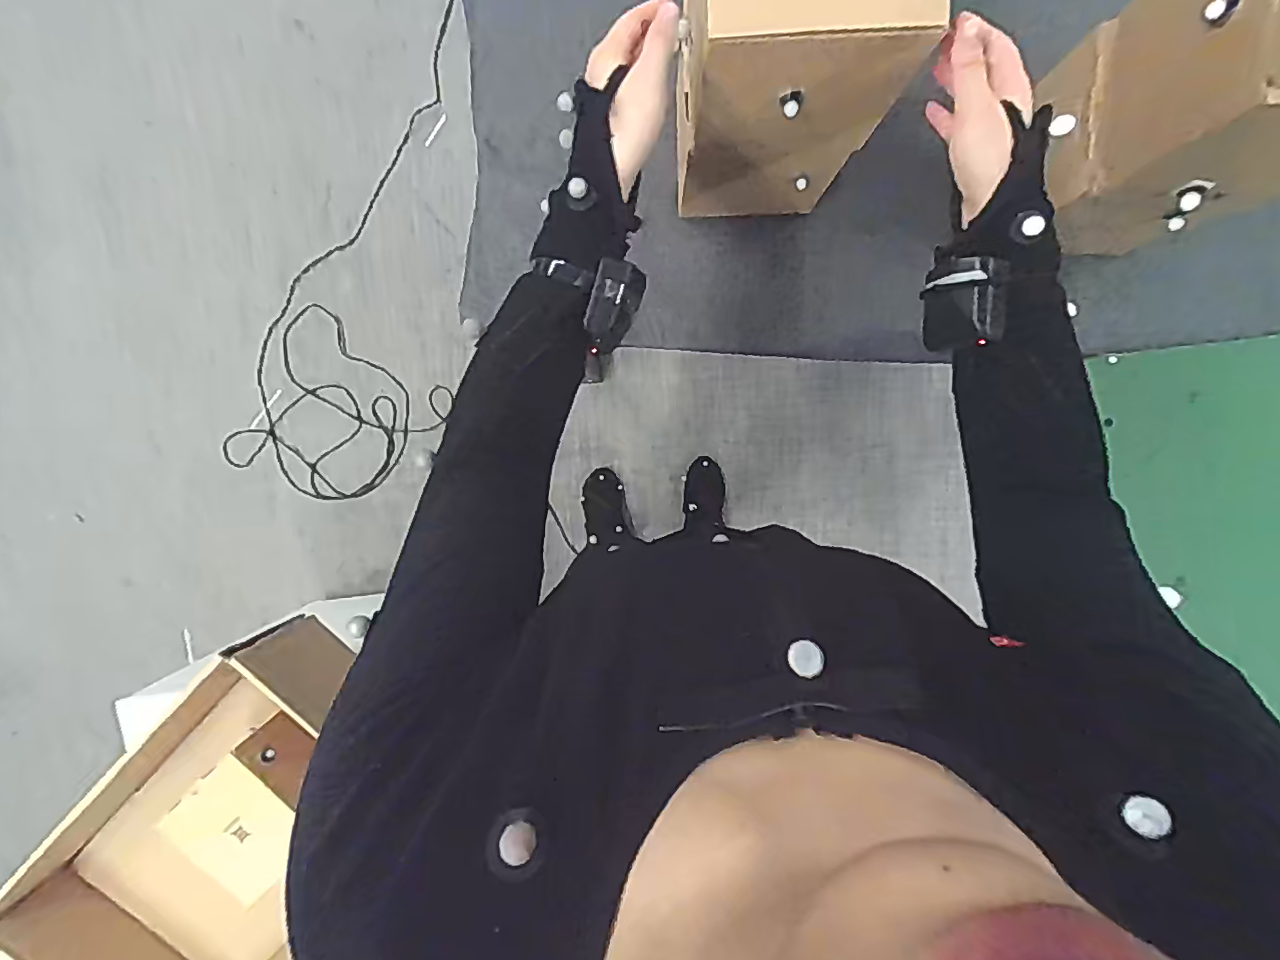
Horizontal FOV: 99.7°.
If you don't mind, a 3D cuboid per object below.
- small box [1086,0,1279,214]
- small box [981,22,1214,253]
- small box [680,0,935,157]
[{"bbox_3d":[0.525,-0.351,0.455,0.168,0.176,0.179,4,95,3],"label":"small box"},{"bbox_3d":[0.532,-0.371,0.615,0.179,0.176,0.168,2,94,2],"label":"small box"},{"bbox_3d":[0.127,-0.405,0.464,0.179,0.176,0.168,-2,95,2],"label":"small box"}]
